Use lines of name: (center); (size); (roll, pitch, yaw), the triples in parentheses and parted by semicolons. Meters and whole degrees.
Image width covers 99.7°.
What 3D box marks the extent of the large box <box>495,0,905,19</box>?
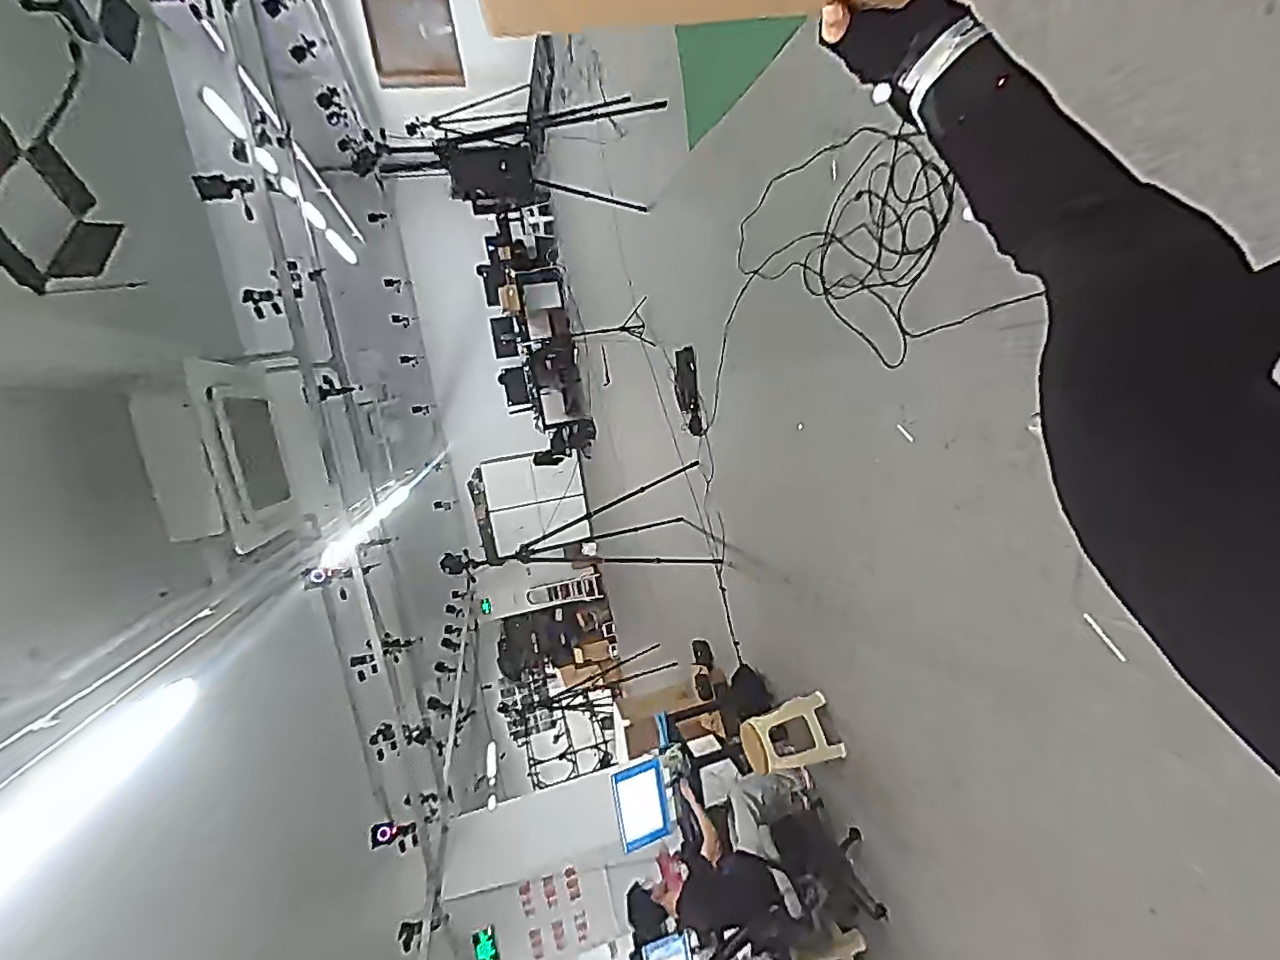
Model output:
large box: (0.074, -0.408, 0.150); (0.408, 0.320, 0.320); (-117, 19, -67)
